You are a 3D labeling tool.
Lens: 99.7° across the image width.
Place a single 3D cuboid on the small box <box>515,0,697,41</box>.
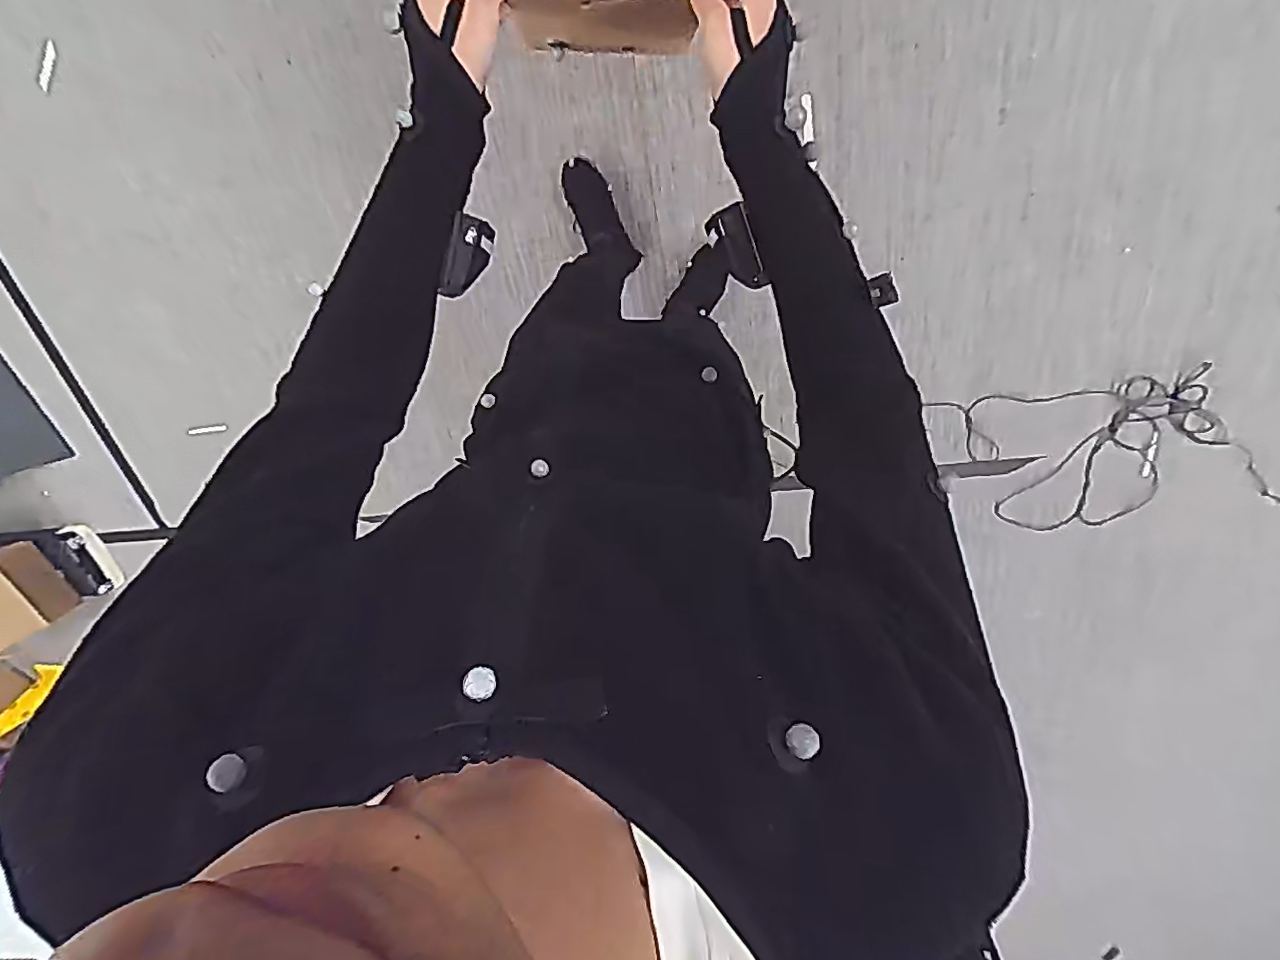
[{"bbox_3d":[-0.028,-0.489,0.439,0.168,0.176,0.179,0,114,-3],"label":"small box"}]
